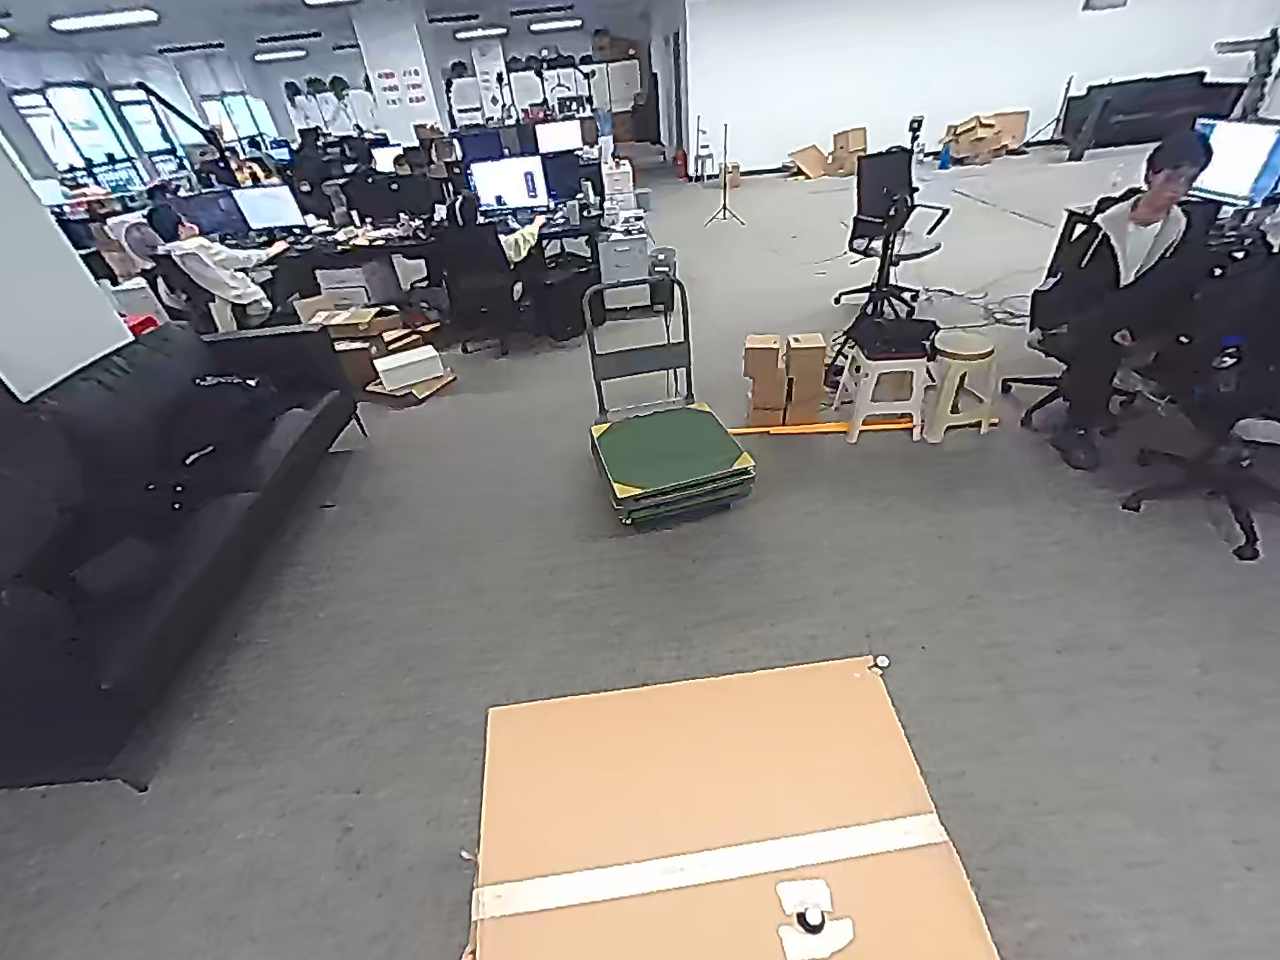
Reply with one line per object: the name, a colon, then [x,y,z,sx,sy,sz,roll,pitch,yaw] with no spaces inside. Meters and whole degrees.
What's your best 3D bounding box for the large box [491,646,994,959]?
large box: [0.070,0.417,0.593,0.408,0.320,0.320,-7,52,-4]
